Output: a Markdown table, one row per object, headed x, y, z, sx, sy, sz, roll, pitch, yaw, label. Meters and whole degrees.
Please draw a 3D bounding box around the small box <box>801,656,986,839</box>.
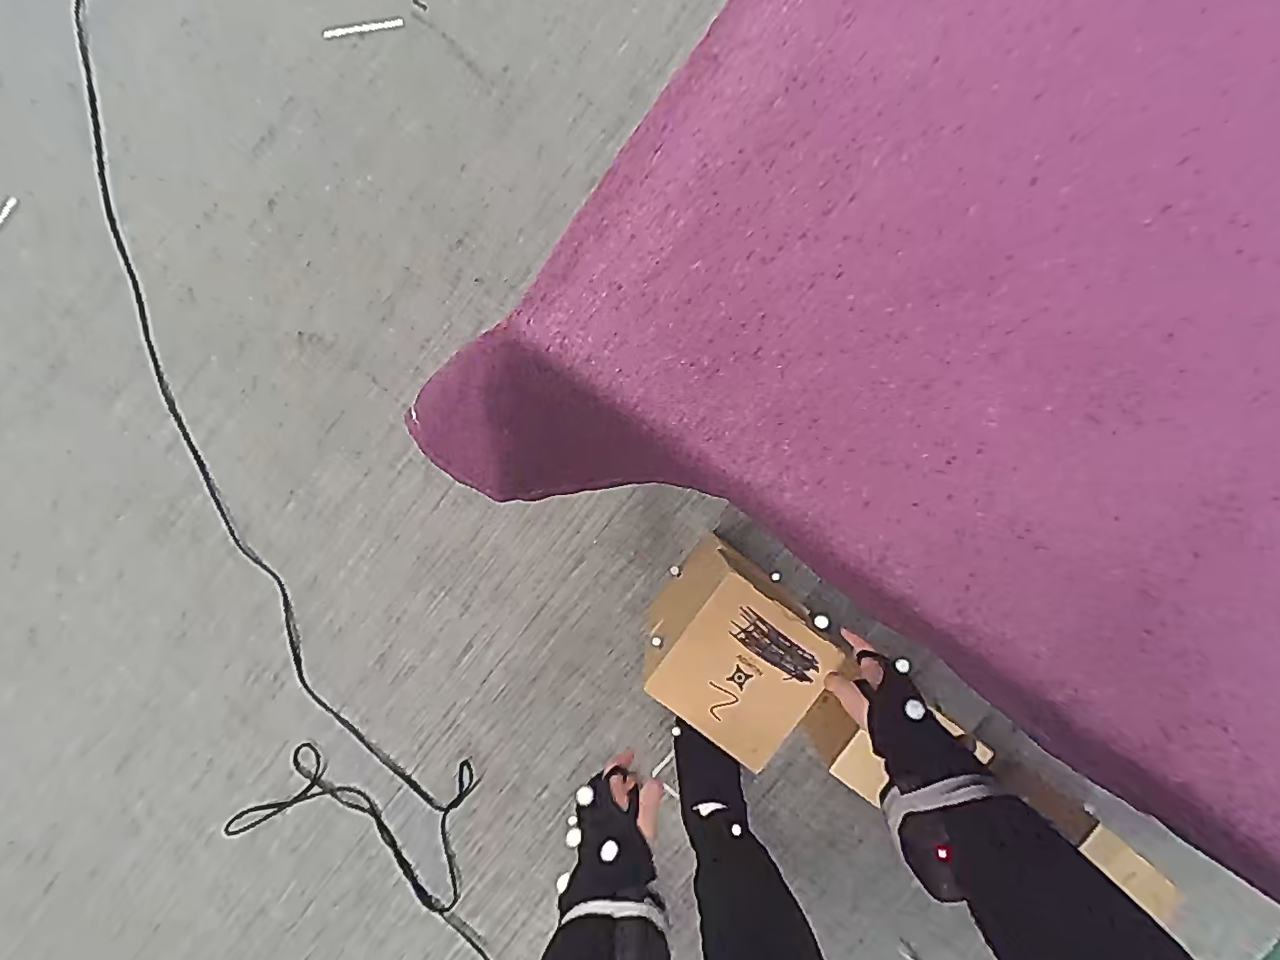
| x | y | z | sx | sy | sz | roll | pitch | yaw | label |
| --- | --- | --- | --- | --- | --- | --- | --- | --- | --- |
| 0.385 | 0.406 | 0.861 | 0.179 | 0.176 | 0.168 | 36 | 92 | 1 | small box |
